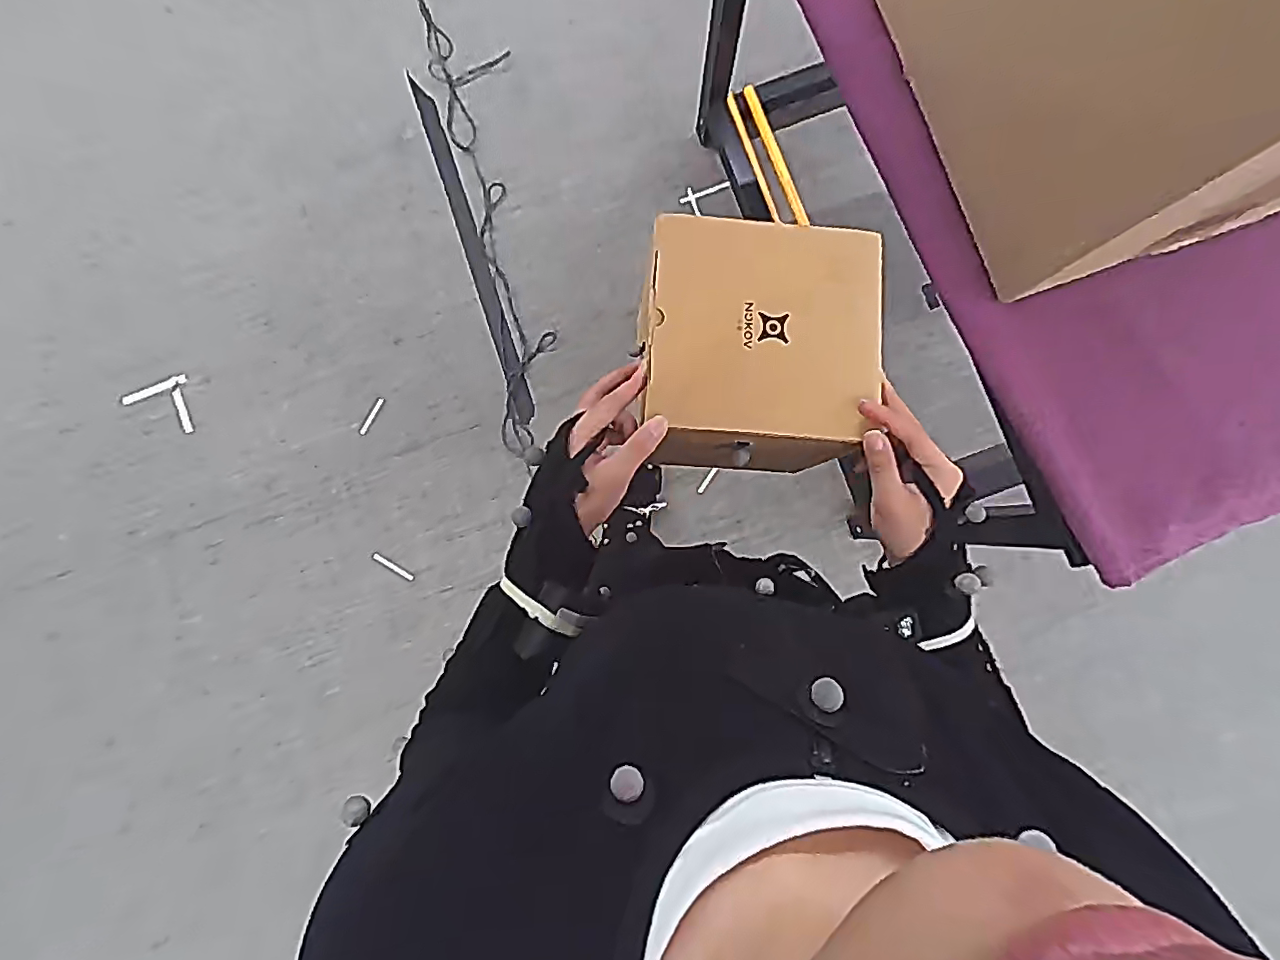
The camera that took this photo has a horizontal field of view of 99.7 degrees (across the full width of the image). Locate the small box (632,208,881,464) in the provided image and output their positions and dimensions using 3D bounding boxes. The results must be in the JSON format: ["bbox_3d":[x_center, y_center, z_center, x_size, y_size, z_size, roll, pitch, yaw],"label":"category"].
[{"bbox_3d":[0.088,-0.109,0.480,0.179,0.176,0.168,4,84,-3],"label":"small box"}]
